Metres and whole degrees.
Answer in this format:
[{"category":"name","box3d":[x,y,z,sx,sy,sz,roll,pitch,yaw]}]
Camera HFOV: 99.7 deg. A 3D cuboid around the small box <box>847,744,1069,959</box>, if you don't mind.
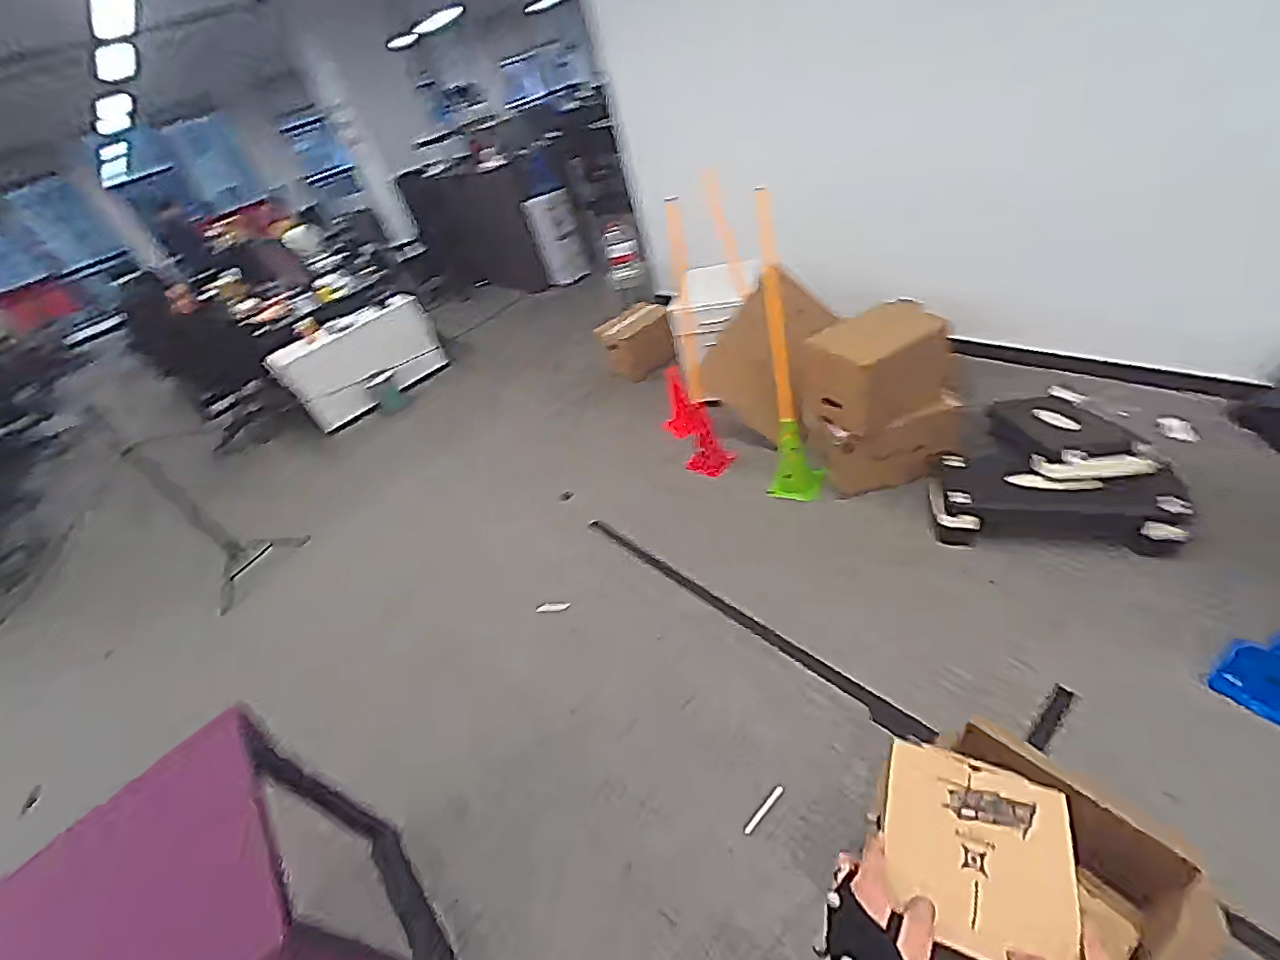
[{"category":"small box","box3d":[0.326,0.431,0.583,0.168,0.176,0.179,10,41,22]}]
